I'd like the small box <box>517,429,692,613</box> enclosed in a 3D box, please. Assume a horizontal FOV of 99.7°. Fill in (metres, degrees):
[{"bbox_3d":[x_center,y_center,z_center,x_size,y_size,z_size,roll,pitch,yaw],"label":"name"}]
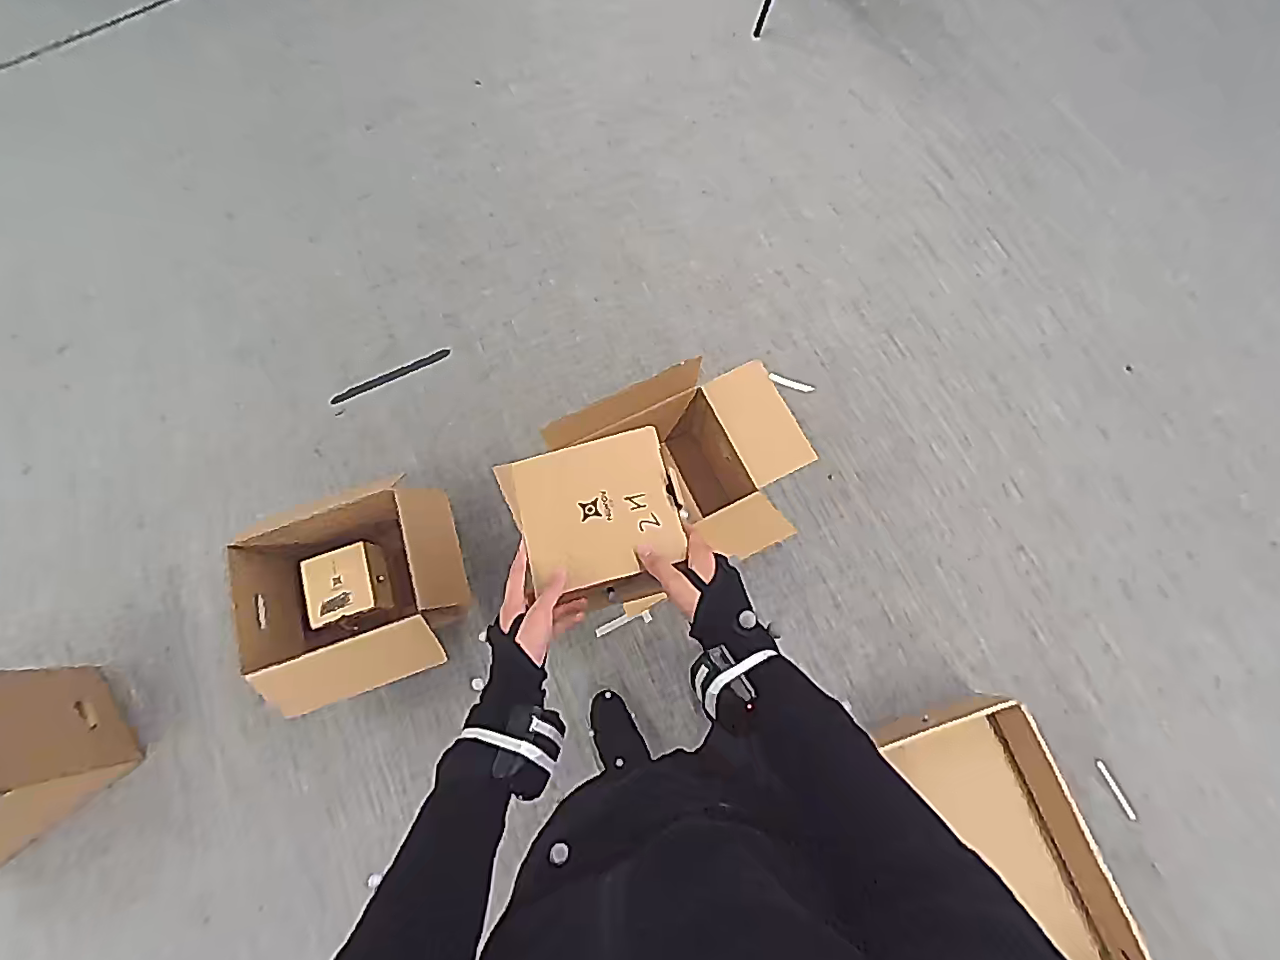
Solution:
[{"bbox_3d":[-0.036,0.061,0.676,0.179,0.176,0.168,-14,69,0],"label":"small box"}]
